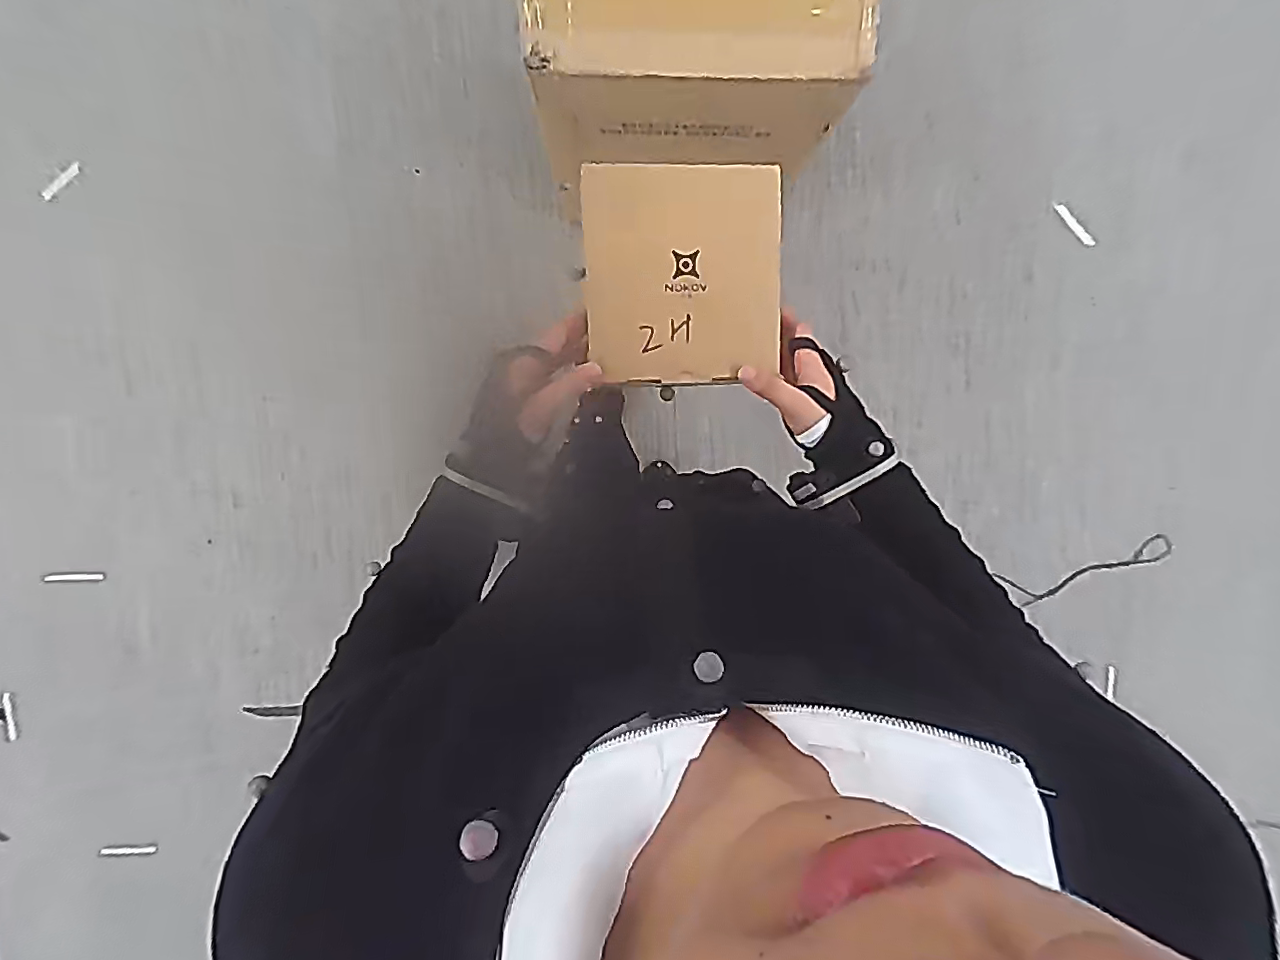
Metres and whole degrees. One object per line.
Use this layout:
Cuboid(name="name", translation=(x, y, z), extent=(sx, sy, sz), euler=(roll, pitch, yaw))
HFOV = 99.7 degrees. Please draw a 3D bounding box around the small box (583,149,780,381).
Cuboid(name="small box", translation=(0.029, -0.192, 0.531), extent=(0.168, 0.176, 0.179), euler=(-2, 98, -5))
